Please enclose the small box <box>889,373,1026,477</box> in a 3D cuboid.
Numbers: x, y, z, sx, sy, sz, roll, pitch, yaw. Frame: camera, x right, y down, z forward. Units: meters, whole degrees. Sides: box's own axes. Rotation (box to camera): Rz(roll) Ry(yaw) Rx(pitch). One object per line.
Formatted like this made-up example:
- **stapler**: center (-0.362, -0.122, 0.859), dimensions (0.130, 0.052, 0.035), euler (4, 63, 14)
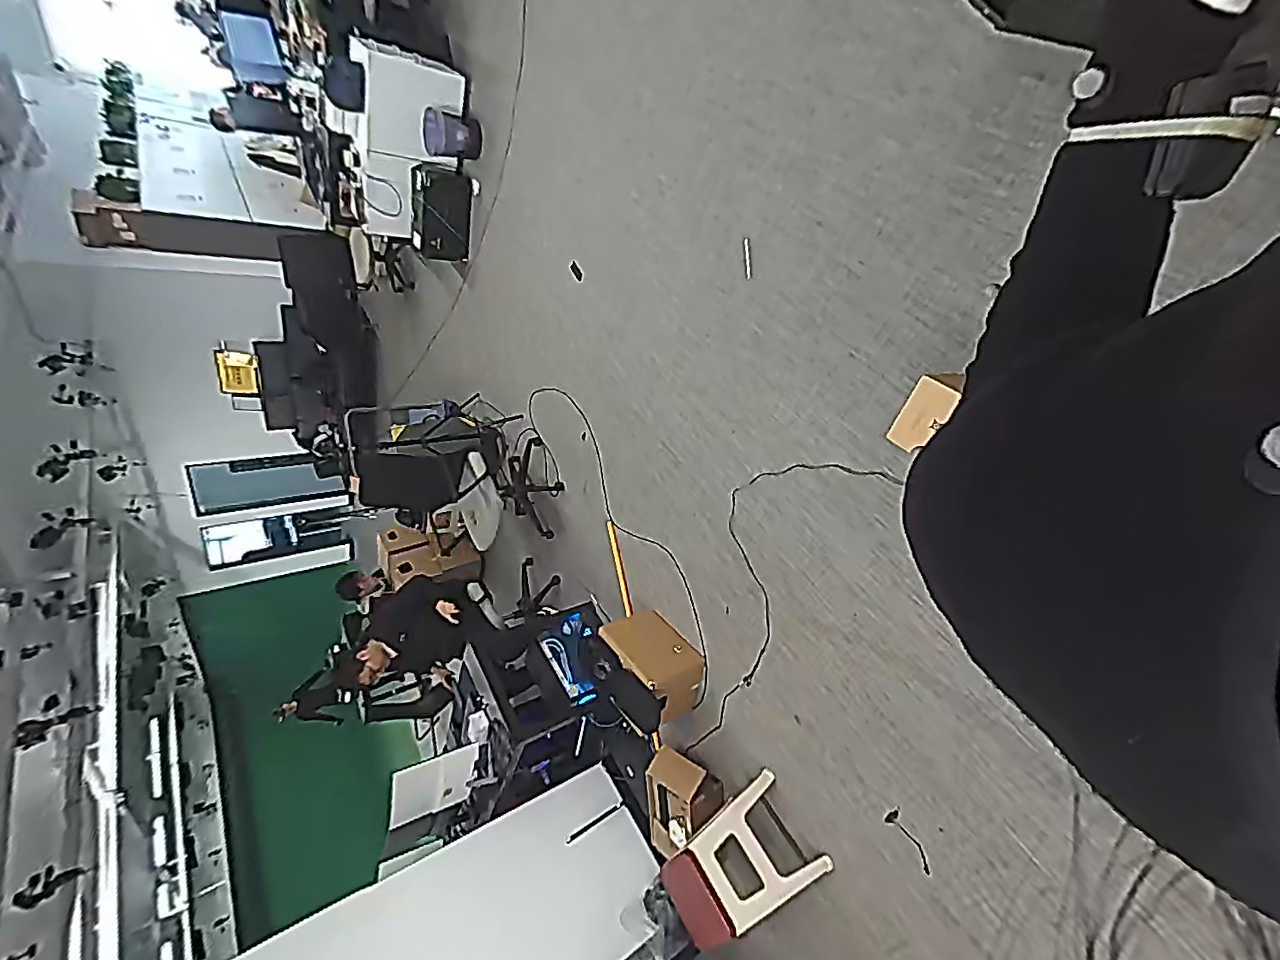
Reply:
- **small box**: center (0.709, -0.131, 1.207), dimensions (0.179, 0.176, 0.168), euler (47, 132, 37)
